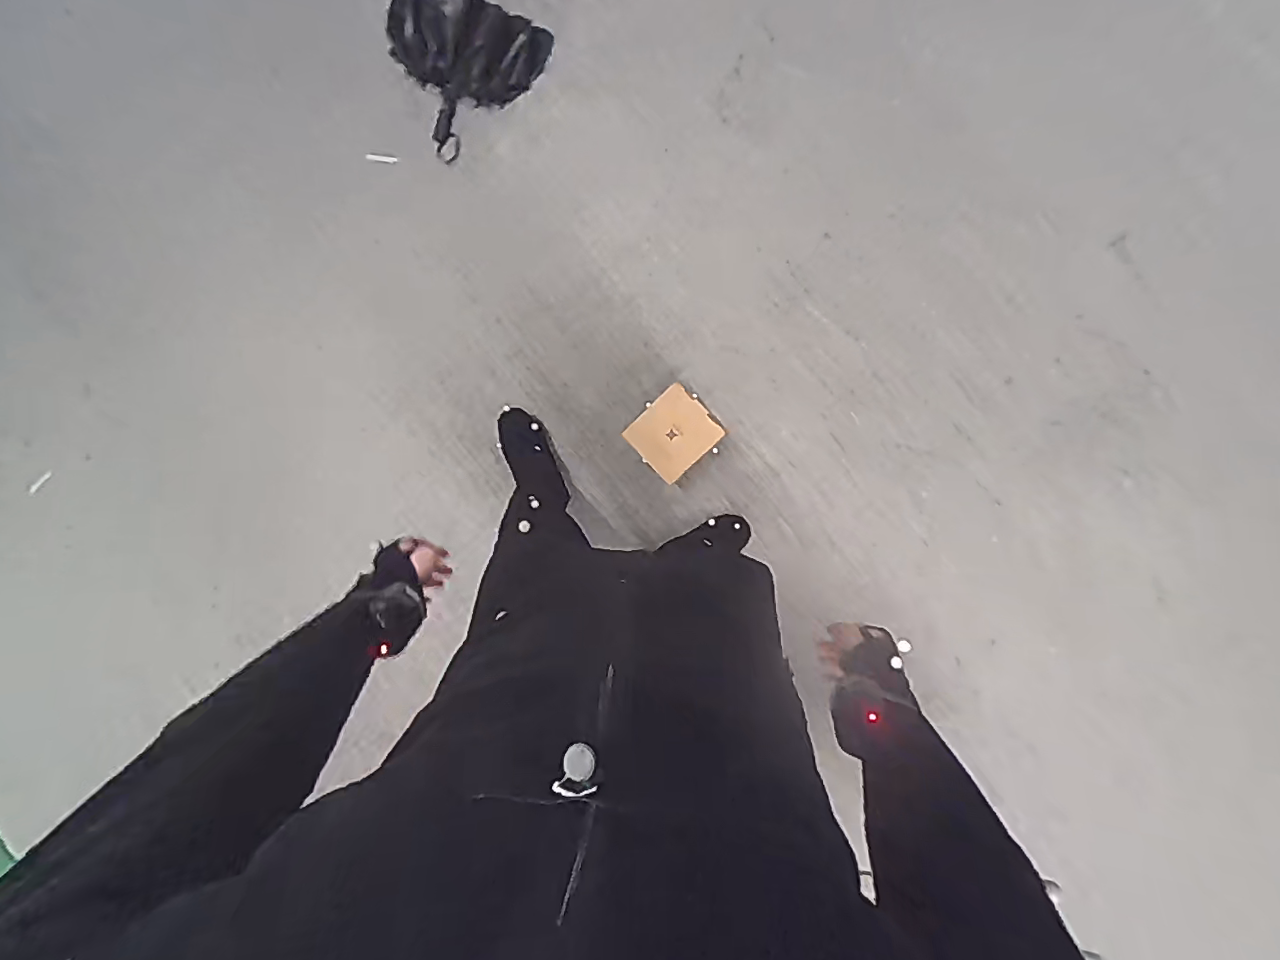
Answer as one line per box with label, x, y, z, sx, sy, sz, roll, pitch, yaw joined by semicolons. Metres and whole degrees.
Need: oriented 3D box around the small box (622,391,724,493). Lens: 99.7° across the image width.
small box;0.084;-0.088;1.297;0.179;0.176;0.168;-44;85;8
